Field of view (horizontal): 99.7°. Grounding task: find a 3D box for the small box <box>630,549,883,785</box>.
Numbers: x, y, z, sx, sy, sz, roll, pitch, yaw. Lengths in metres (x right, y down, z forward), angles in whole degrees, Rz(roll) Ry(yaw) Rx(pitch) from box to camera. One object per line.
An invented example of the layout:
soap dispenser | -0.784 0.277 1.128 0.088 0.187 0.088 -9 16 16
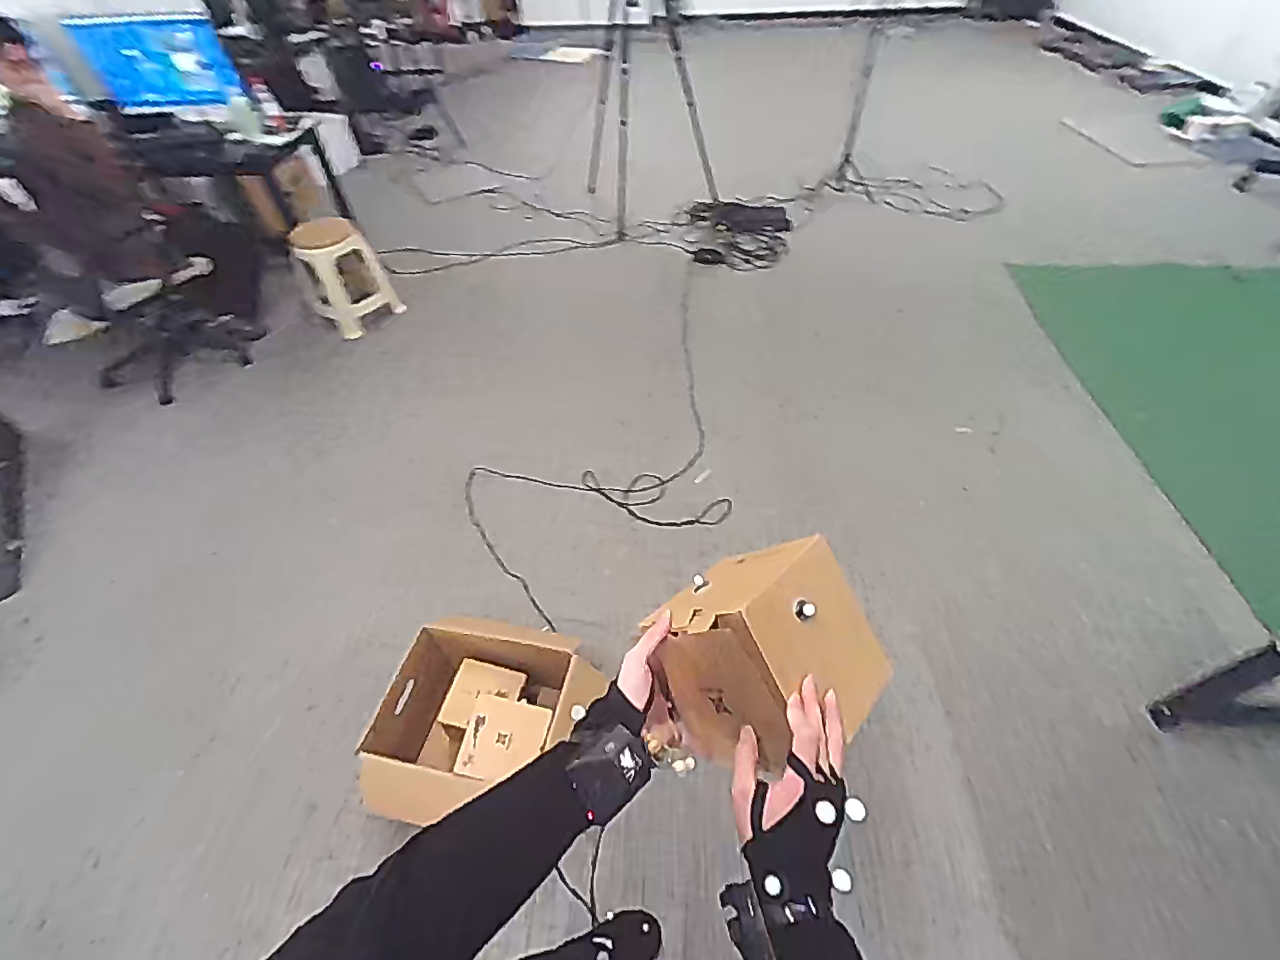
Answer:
small box | 0.128 0.190 0.589 0.176 0.168 0.179 -29 90 -41
